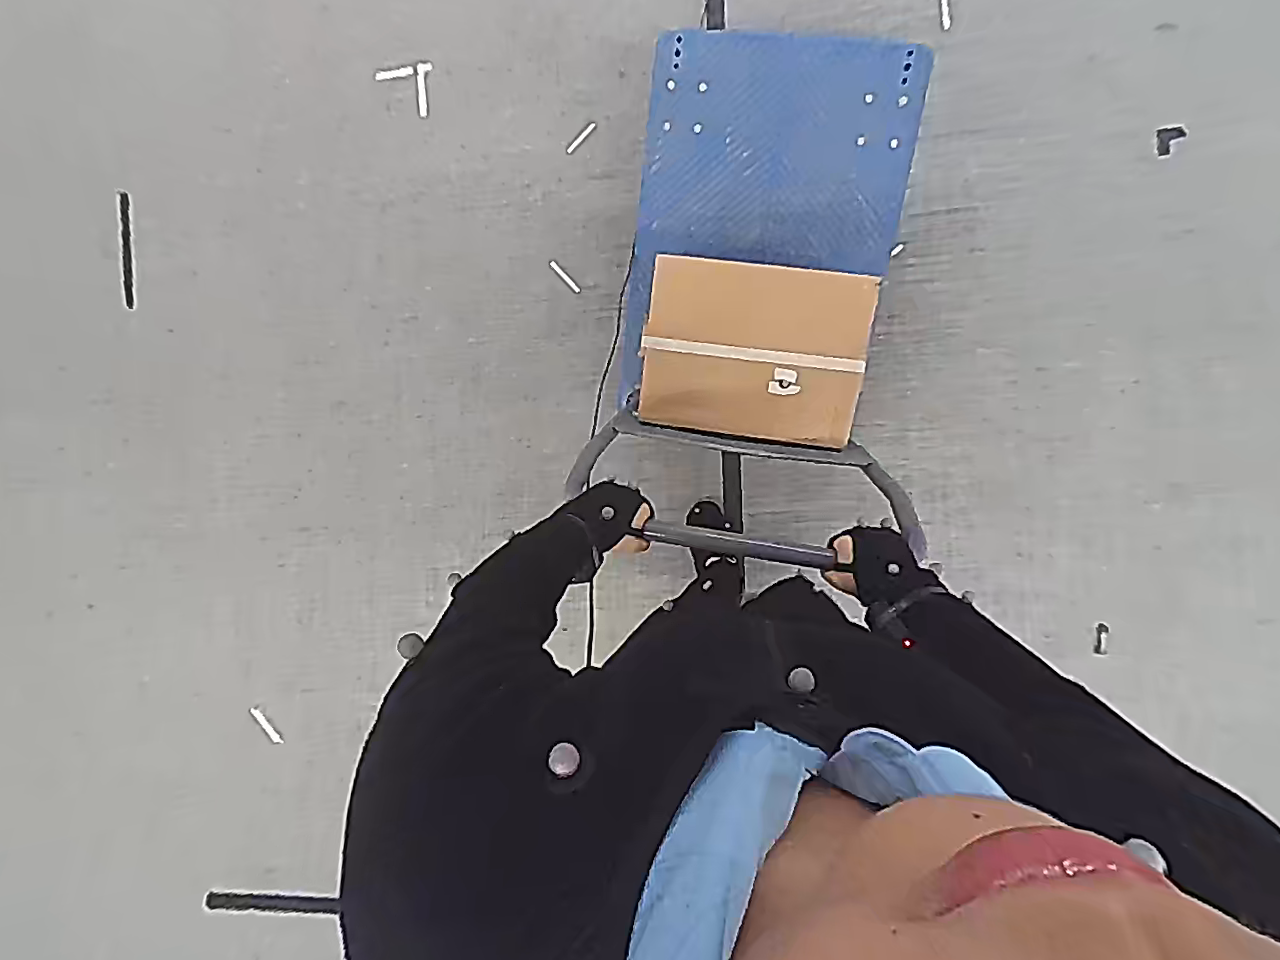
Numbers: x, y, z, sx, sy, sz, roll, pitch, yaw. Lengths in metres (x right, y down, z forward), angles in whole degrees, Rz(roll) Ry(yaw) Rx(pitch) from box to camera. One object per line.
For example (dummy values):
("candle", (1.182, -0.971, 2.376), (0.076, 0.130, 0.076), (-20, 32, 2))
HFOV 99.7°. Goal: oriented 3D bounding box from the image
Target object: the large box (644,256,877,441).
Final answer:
("large box", (0.232, -0.279, 1.166), (0.408, 0.320, 0.320), (8, 105, 5))
